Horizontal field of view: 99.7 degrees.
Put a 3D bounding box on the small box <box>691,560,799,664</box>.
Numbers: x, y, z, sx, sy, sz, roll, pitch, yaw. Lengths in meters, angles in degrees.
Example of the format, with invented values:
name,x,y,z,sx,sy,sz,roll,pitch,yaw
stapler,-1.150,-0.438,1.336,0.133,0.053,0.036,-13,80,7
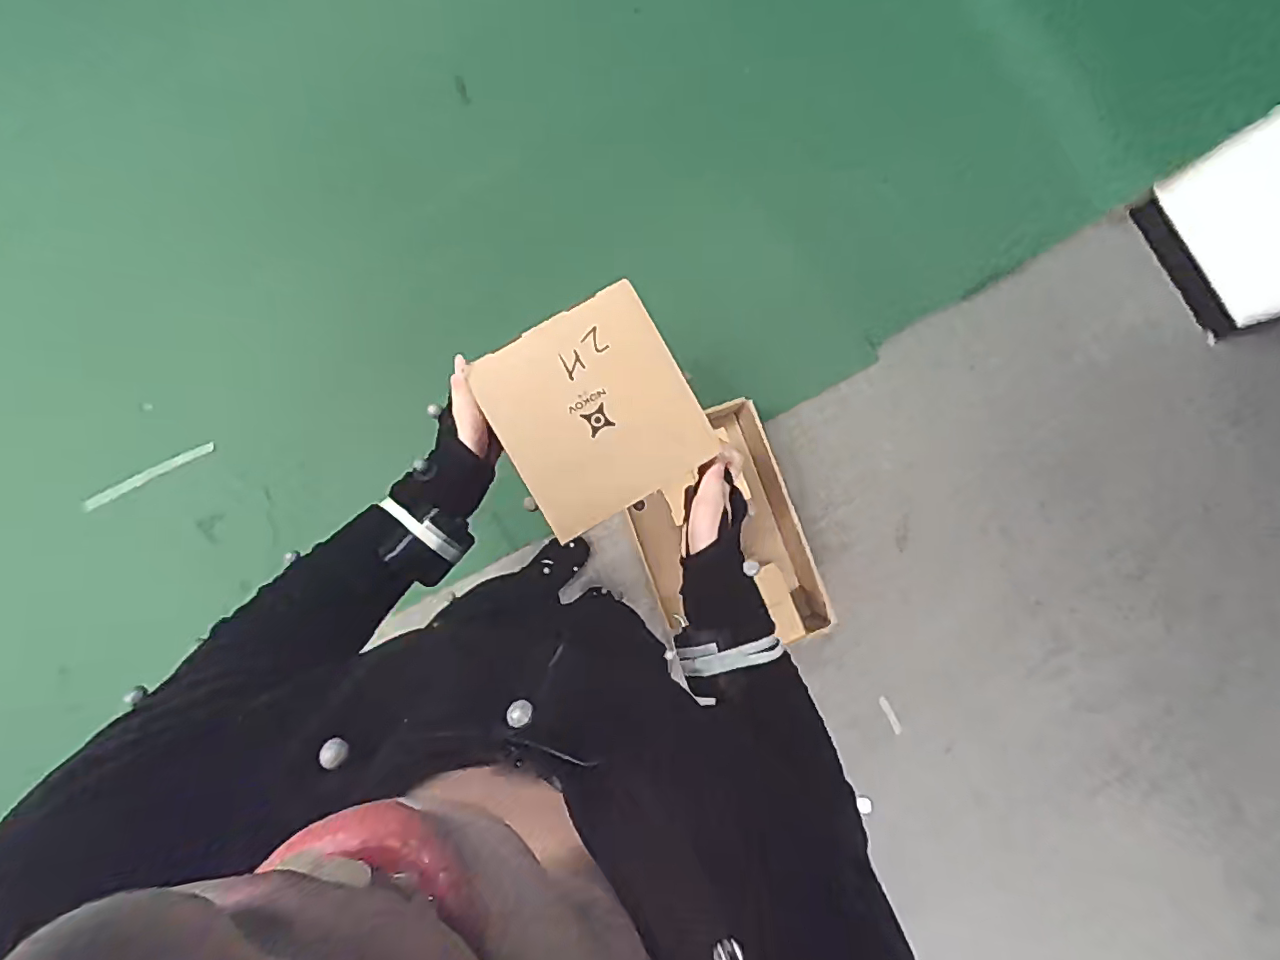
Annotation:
name,x,y,z,sx,sy,sz,roll,pitch,yaw
small box,0.223,0.287,1.210,0.179,0.176,0.168,-21,86,-4

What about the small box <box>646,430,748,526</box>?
name,x,y,z,sx,sy,sz,roll,pitch,yaw
small box,0.123,-0.002,1.233,0.179,0.176,0.168,-20,87,-3
